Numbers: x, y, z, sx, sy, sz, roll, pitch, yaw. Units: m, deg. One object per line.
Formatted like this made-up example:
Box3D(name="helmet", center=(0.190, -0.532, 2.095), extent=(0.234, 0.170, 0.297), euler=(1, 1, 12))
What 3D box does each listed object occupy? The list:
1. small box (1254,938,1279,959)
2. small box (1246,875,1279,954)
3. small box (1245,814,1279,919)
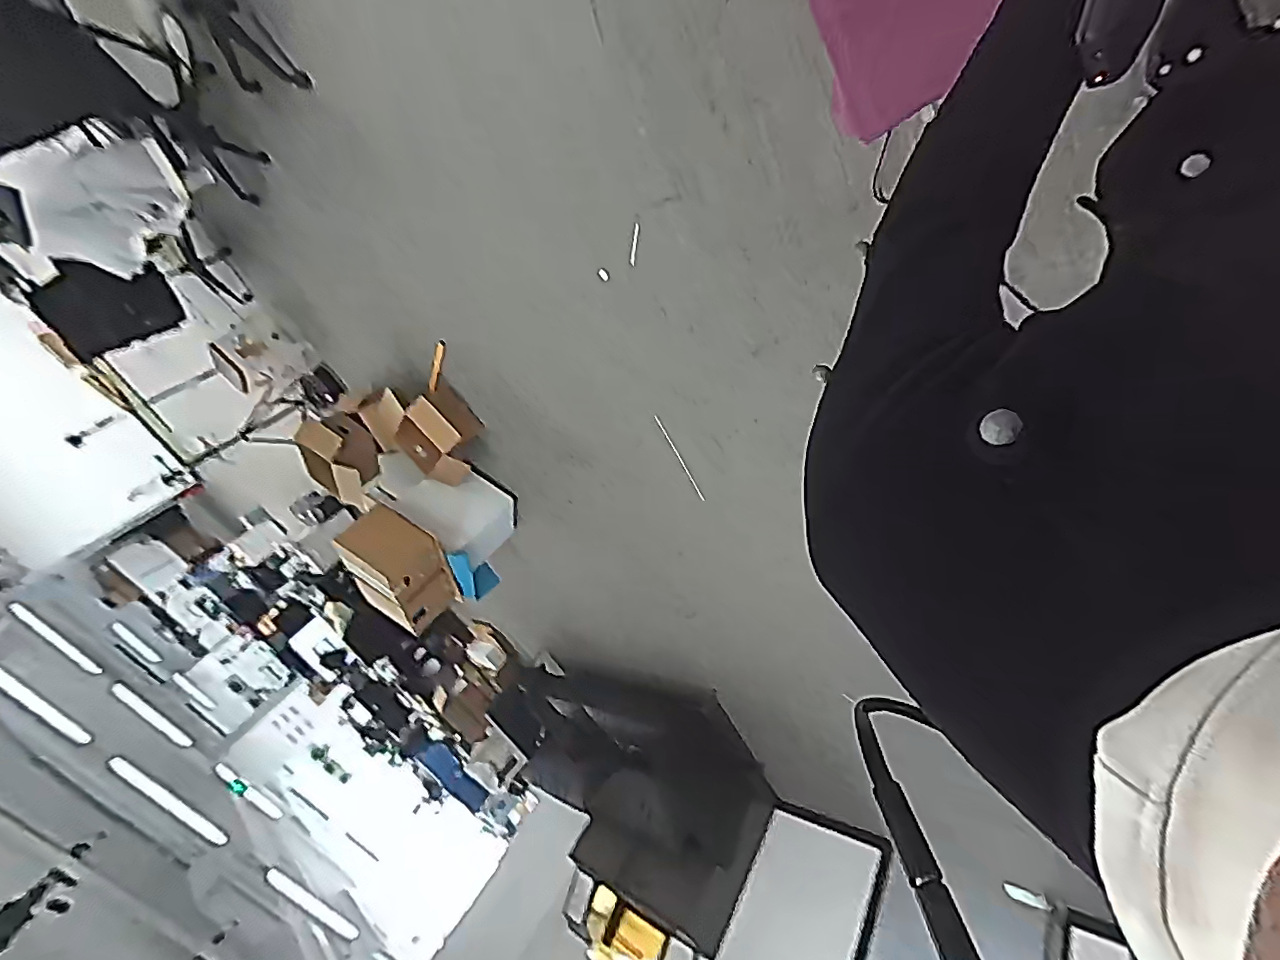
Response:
Box3D(name="small box", center=(1.595, 1.237, 1.270), extent=(0.179, 0.176, 0.168), euler=(-3, 122, 42))
Box3D(name="small box", center=(1.683, 1.140, 1.368), extent=(0.179, 0.176, 0.168), euler=(-1, 125, 42))
Box3D(name="small box", center=(1.554, 0.922, 1.264), extent=(0.179, 0.176, 0.168), euler=(-6, 123, 44))
